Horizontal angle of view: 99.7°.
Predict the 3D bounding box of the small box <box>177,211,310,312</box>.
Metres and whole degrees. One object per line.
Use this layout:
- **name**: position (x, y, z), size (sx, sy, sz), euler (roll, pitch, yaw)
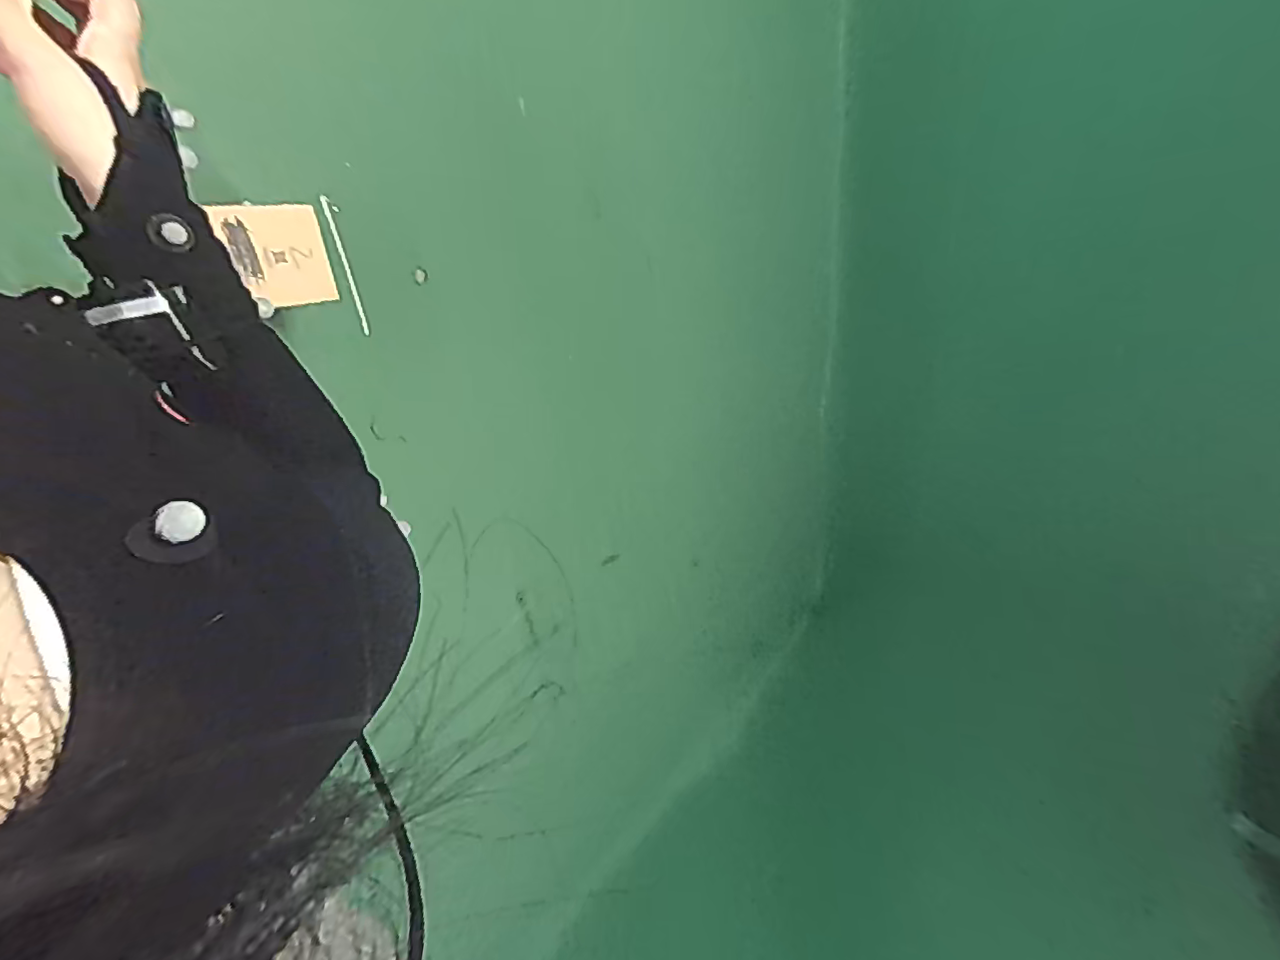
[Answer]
- **small box**: position (-0.811, -0.449, 1.108), size (0.168, 0.176, 0.179), euler (-24, 121, -38)
